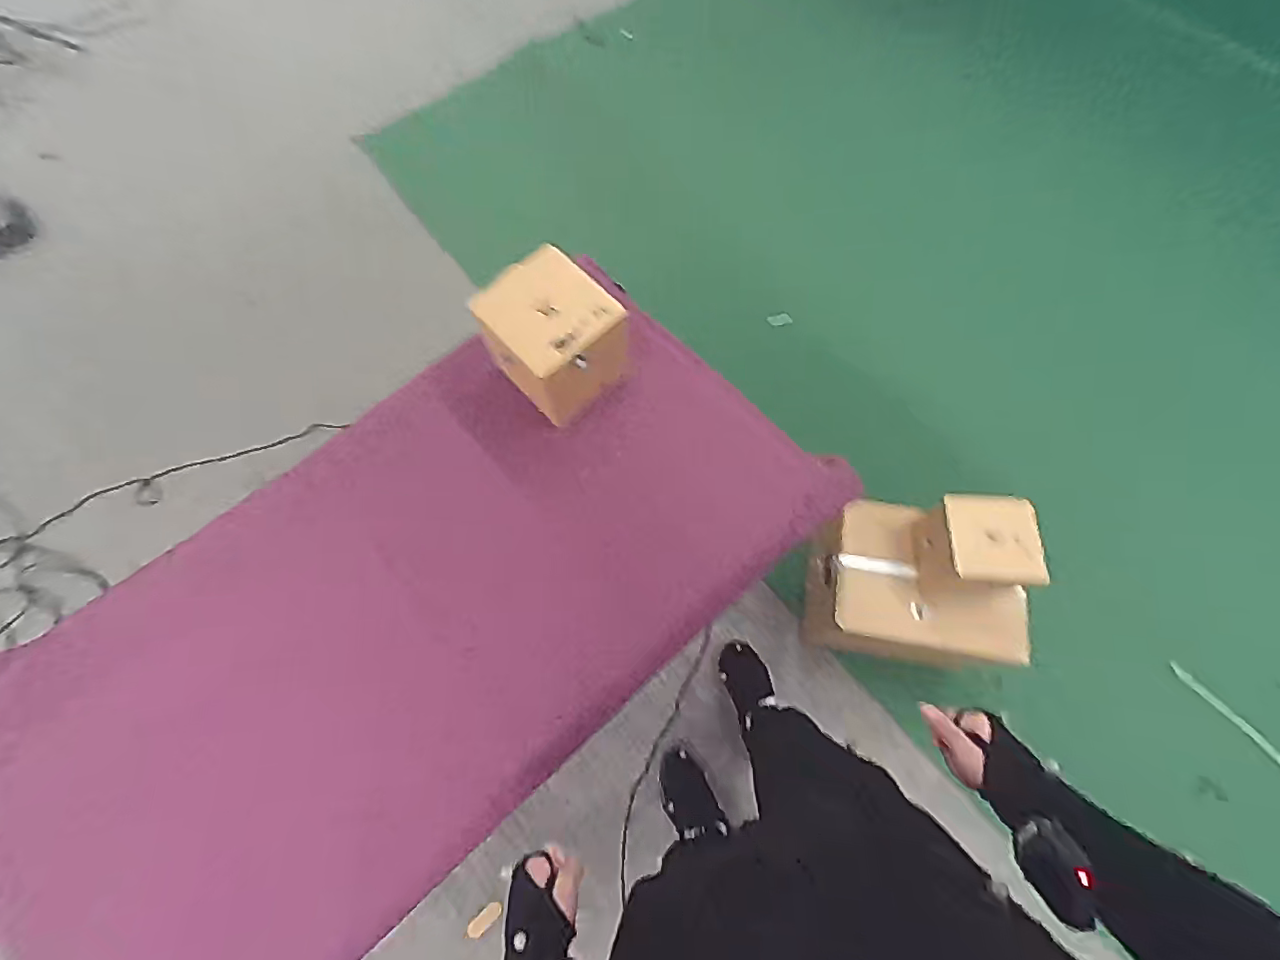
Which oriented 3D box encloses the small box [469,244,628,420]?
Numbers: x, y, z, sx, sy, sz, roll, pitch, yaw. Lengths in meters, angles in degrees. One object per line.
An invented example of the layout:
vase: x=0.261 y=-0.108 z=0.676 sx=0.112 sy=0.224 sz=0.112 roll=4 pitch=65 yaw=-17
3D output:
small box: x=-0.136 y=-0.227 z=0.866 sx=0.168 sy=0.176 sz=0.179 roll=-42 pitch=74 yaw=-12

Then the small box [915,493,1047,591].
small box: x=0.707 y=0.137 z=1.150 sx=0.179 sy=0.176 sz=0.168 roll=3 pitch=68 yaw=2
